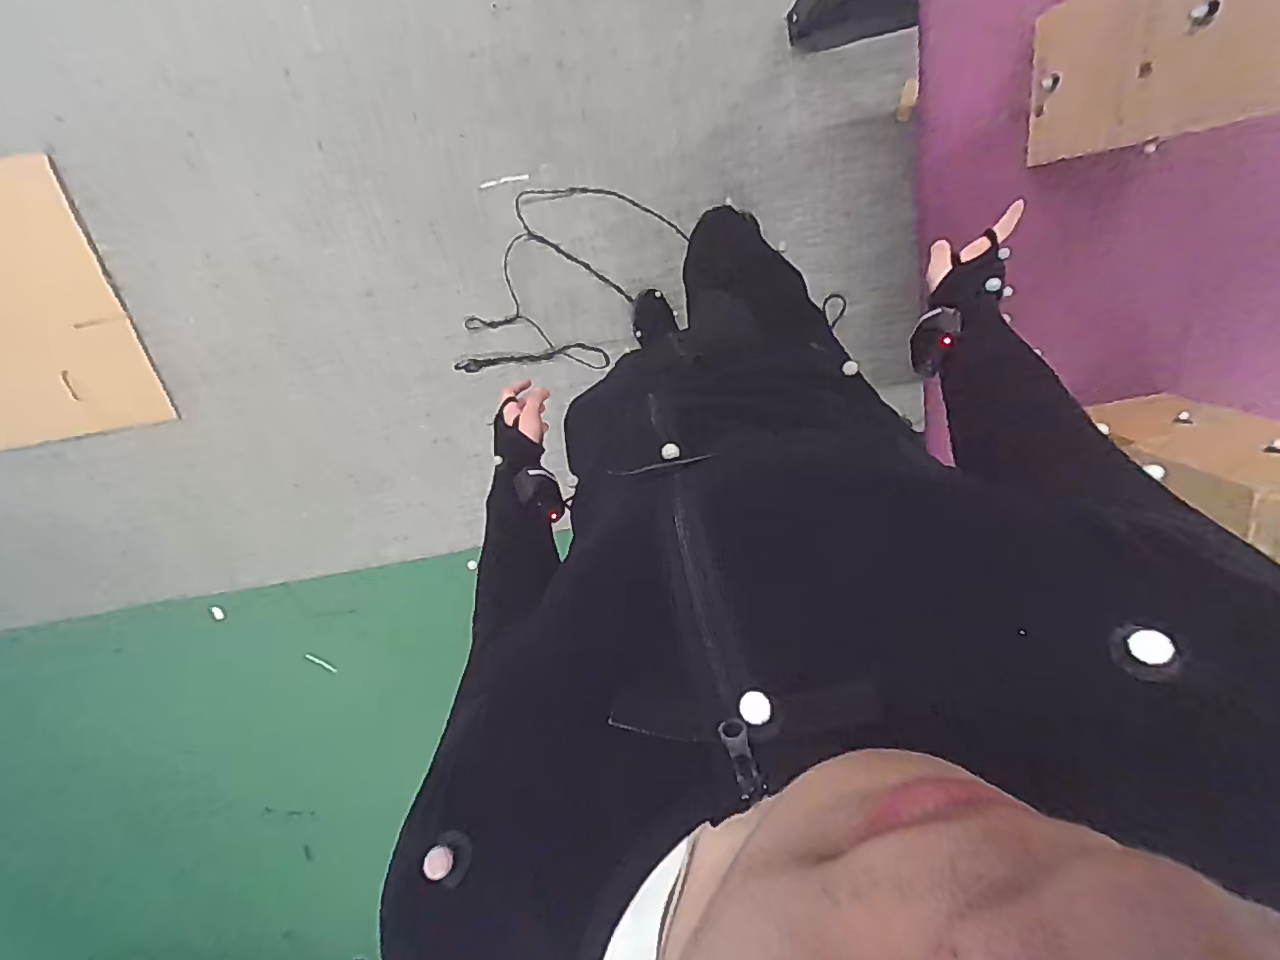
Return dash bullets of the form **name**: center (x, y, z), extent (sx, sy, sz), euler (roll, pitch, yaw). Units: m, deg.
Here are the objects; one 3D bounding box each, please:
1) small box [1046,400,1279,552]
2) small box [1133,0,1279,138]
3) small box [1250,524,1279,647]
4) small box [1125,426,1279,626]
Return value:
- **small box**: center (0.754, -0.013, 0.799), extent (0.179, 0.176, 0.168), euler (-8, 110, 4)
- **small box**: center (0.584, -0.415, 0.461), extent (0.179, 0.176, 0.168), euler (-9, 112, 4)
- **small box**: center (0.741, 0.107, 0.496), extent (0.179, 0.176, 0.168), euler (-12, 110, 3)
- **small box**: center (0.737, 0.046, 0.646), extent (0.179, 0.176, 0.168), euler (-12, 110, 3)
